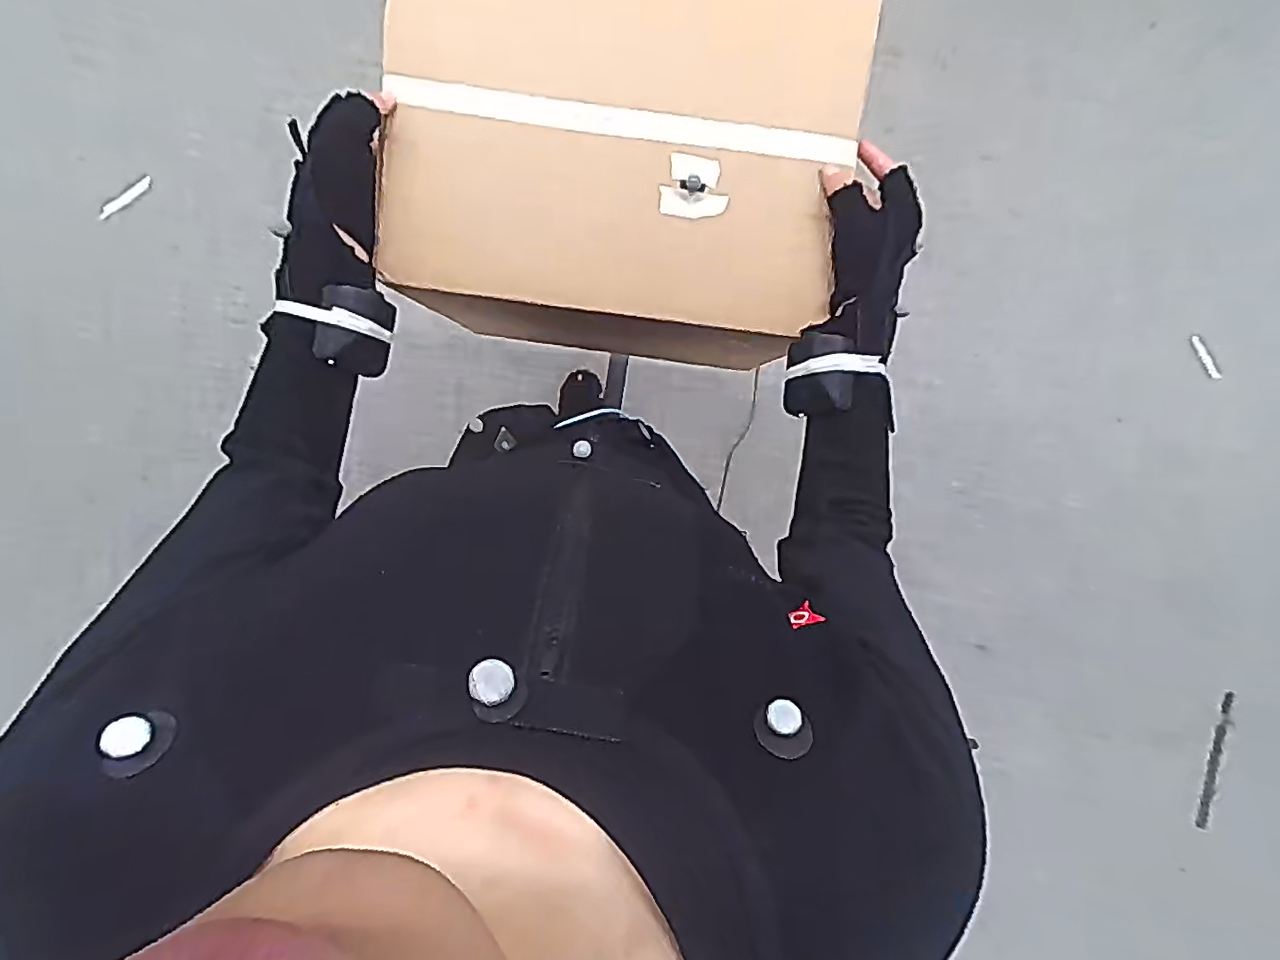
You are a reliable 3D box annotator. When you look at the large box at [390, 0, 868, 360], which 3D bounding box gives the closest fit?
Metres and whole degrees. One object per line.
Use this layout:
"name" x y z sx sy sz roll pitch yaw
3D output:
"large box" -0.019 -0.329 0.624 0.408 0.320 0.320 7 97 -2
